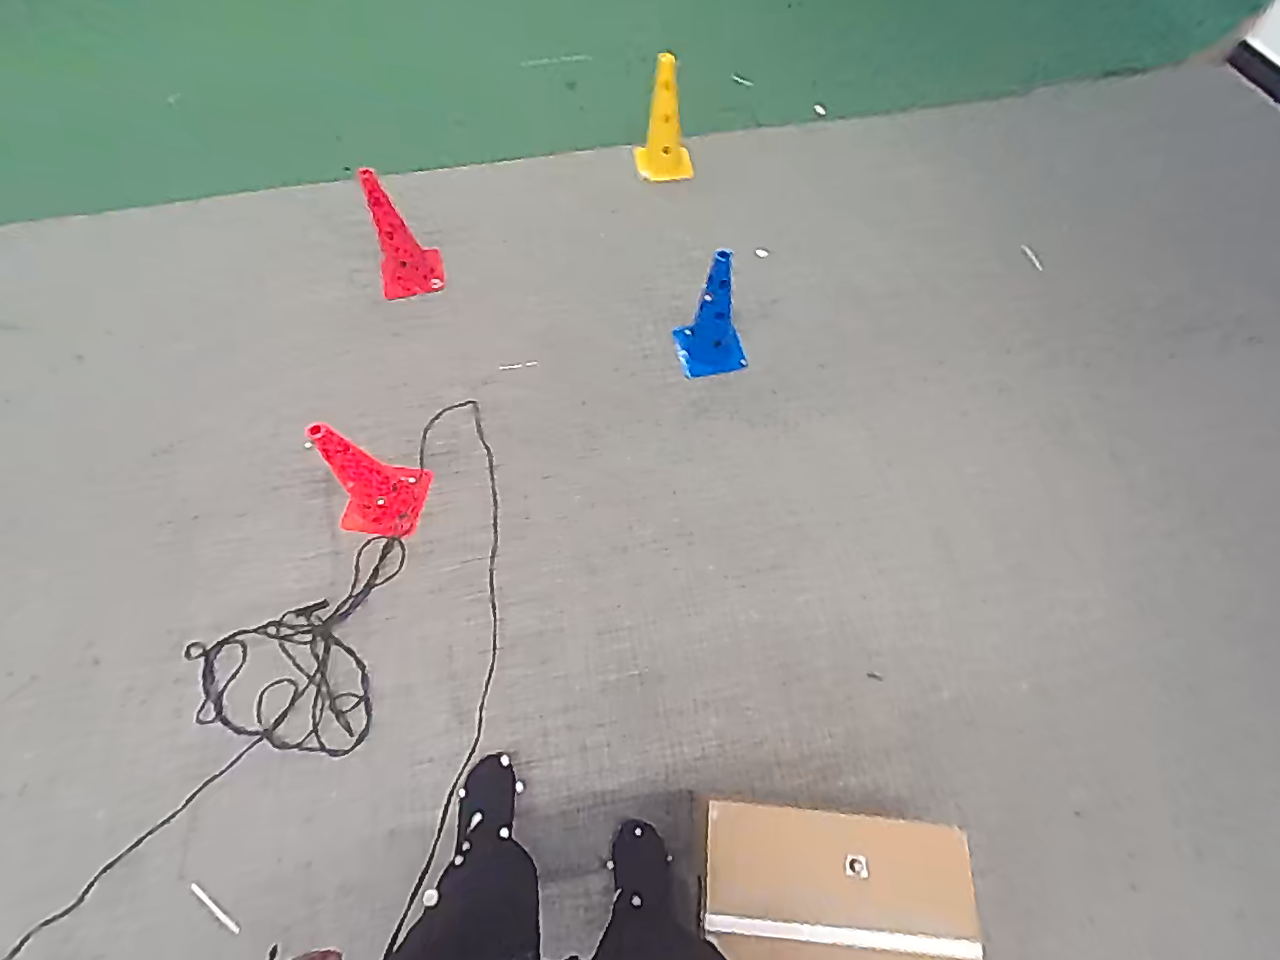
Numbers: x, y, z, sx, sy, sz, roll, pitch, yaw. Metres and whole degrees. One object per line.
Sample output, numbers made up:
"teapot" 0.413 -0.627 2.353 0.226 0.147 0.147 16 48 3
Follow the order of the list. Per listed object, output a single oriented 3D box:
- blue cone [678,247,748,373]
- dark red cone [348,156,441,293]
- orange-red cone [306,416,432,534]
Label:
"blue cone" 0.218 -0.486 1.516 0.192 0.380 0.193 -9 63 -4
"dark red cone" -0.769 -0.783 1.649 0.202 0.394 0.201 -16 61 -7
"orange-red cone" -0.677 -0.035 1.287 0.199 0.360 0.198 7 62 7
